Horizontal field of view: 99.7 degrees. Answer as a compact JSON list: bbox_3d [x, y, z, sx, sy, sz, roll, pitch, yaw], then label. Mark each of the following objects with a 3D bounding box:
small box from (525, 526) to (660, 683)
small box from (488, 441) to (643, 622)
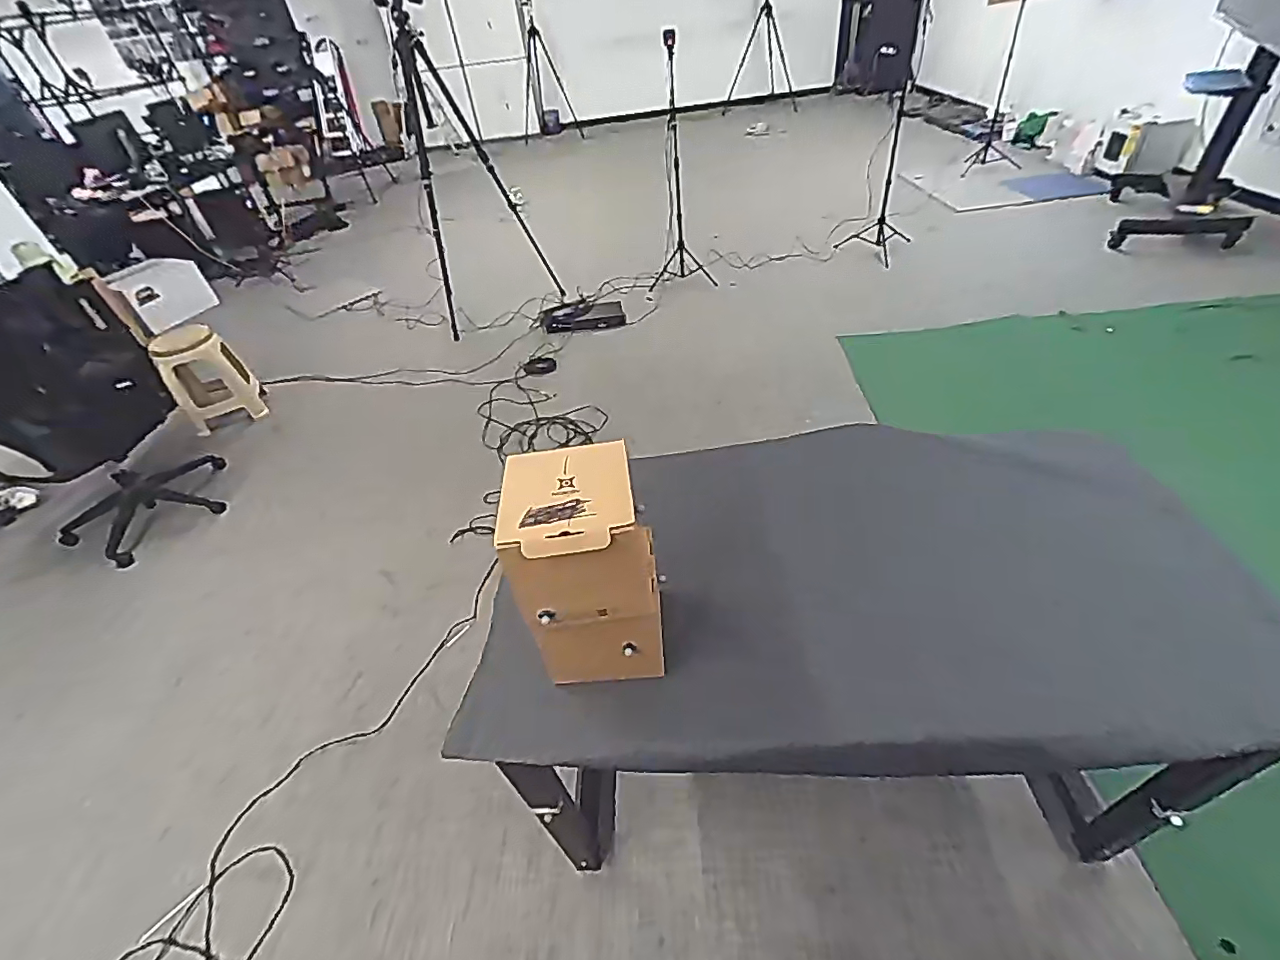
[{"bbox_3d":[-0.062,0.194,0.837,0.179,0.176,0.168,-7,40,4],"label":"small box"},{"bbox_3d":[-0.092,0.074,0.728,0.168,0.176,0.179,-8,39,0],"label":"small box"}]
